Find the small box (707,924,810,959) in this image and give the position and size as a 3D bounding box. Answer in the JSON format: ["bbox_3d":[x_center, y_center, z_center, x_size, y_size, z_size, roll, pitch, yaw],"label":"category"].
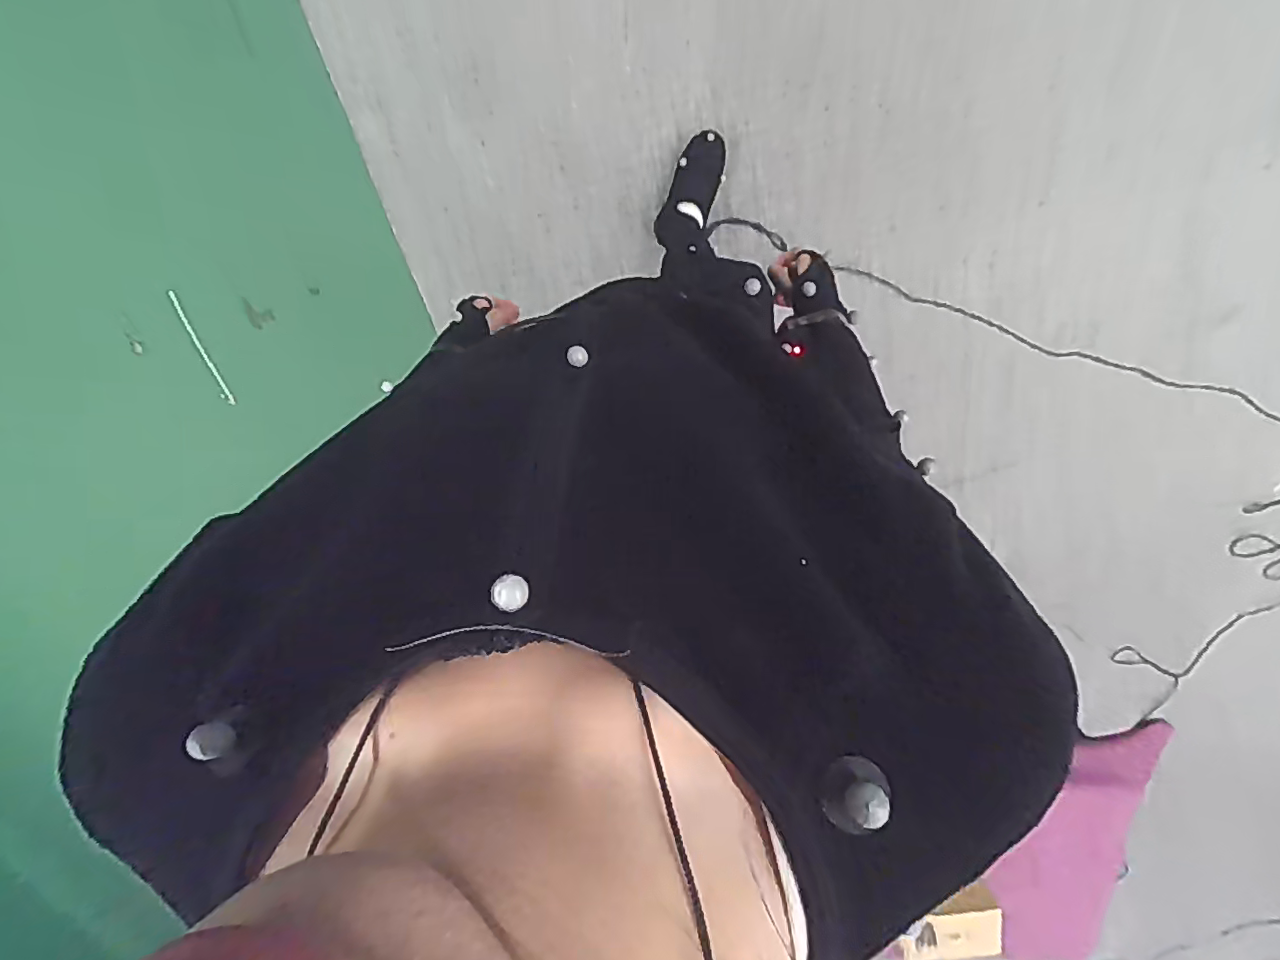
[{"bbox_3d":[0.205,0.897,0.925,0.179,0.176,0.168,-3,116,3],"label":"small box"}]

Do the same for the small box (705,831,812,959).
[{"bbox_3d":[0.234,0.842,1.079,0.168,0.176,0.179,-16,114,10],"label":"small box"}]
